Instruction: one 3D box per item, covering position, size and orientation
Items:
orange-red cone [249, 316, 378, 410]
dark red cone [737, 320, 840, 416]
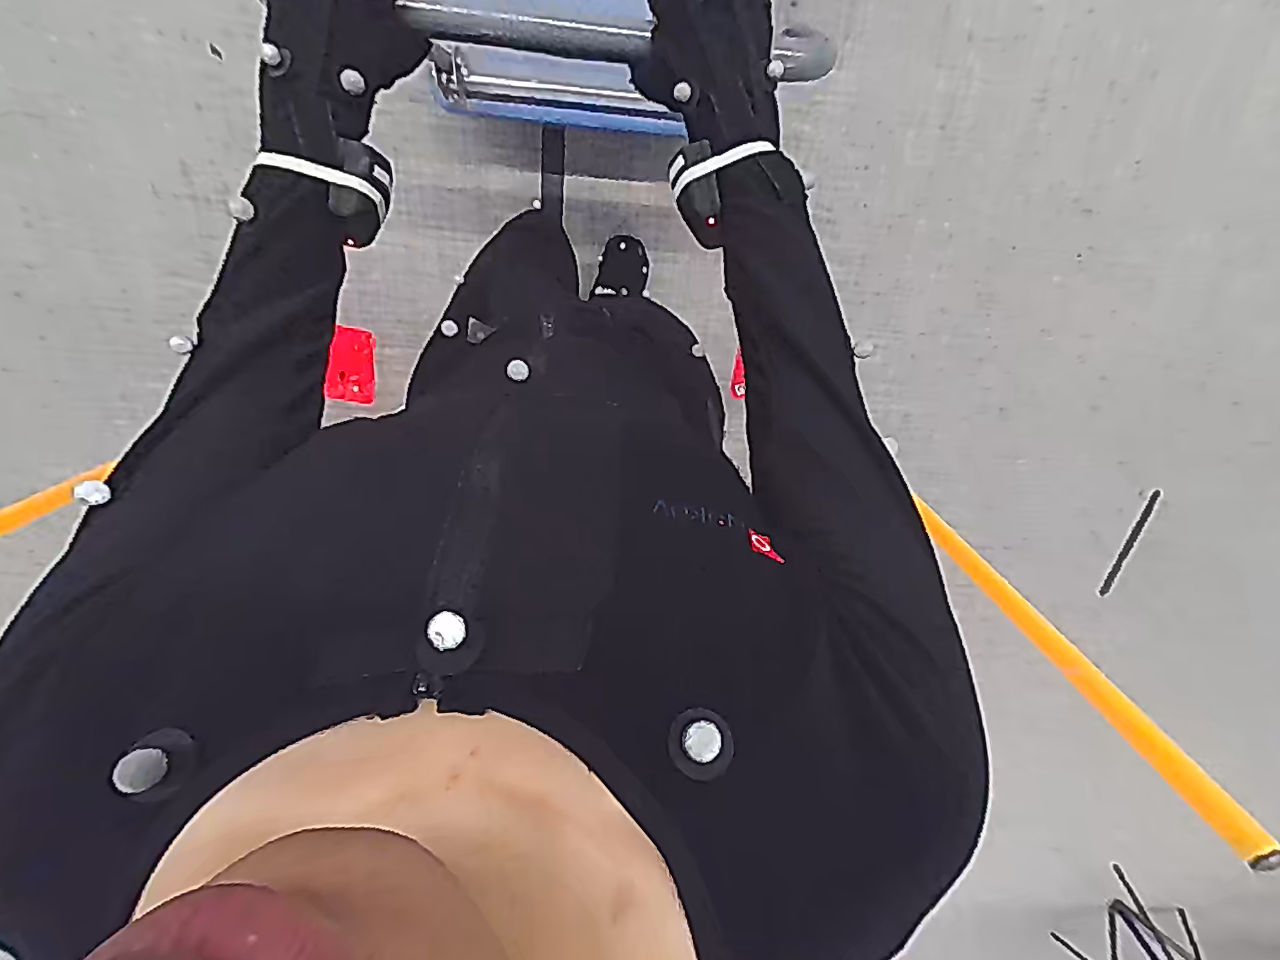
[{"bbox_3d":[-0.770,-0.234,1.234,0.198,0.360,0.199,10,114,-7],"label":"orange-red cone"},{"bbox_3d":[0.365,-0.229,1.242,0.201,0.394,0.202,3,117,-5],"label":"dark red cone"}]
